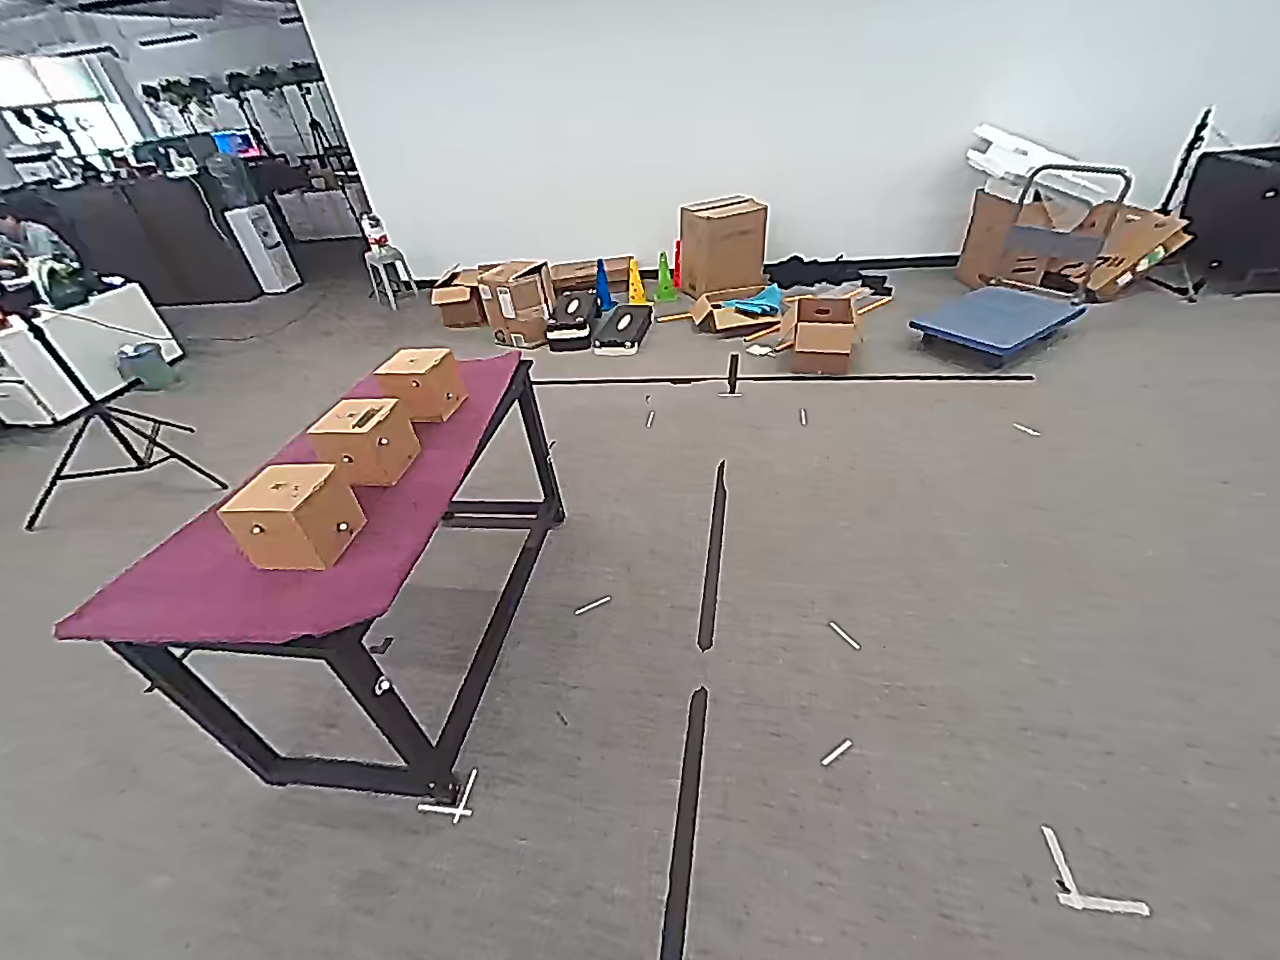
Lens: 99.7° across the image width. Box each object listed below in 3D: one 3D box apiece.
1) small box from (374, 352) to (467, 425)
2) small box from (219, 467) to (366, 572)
[{"bbox_3d":[-0.663,-0.280,1.654,0.179,0.176,0.168,2,38,13],"label":"small box"},{"bbox_3d":[-0.747,0.086,1.183,0.179,0.176,0.168,0,37,8],"label":"small box"}]
